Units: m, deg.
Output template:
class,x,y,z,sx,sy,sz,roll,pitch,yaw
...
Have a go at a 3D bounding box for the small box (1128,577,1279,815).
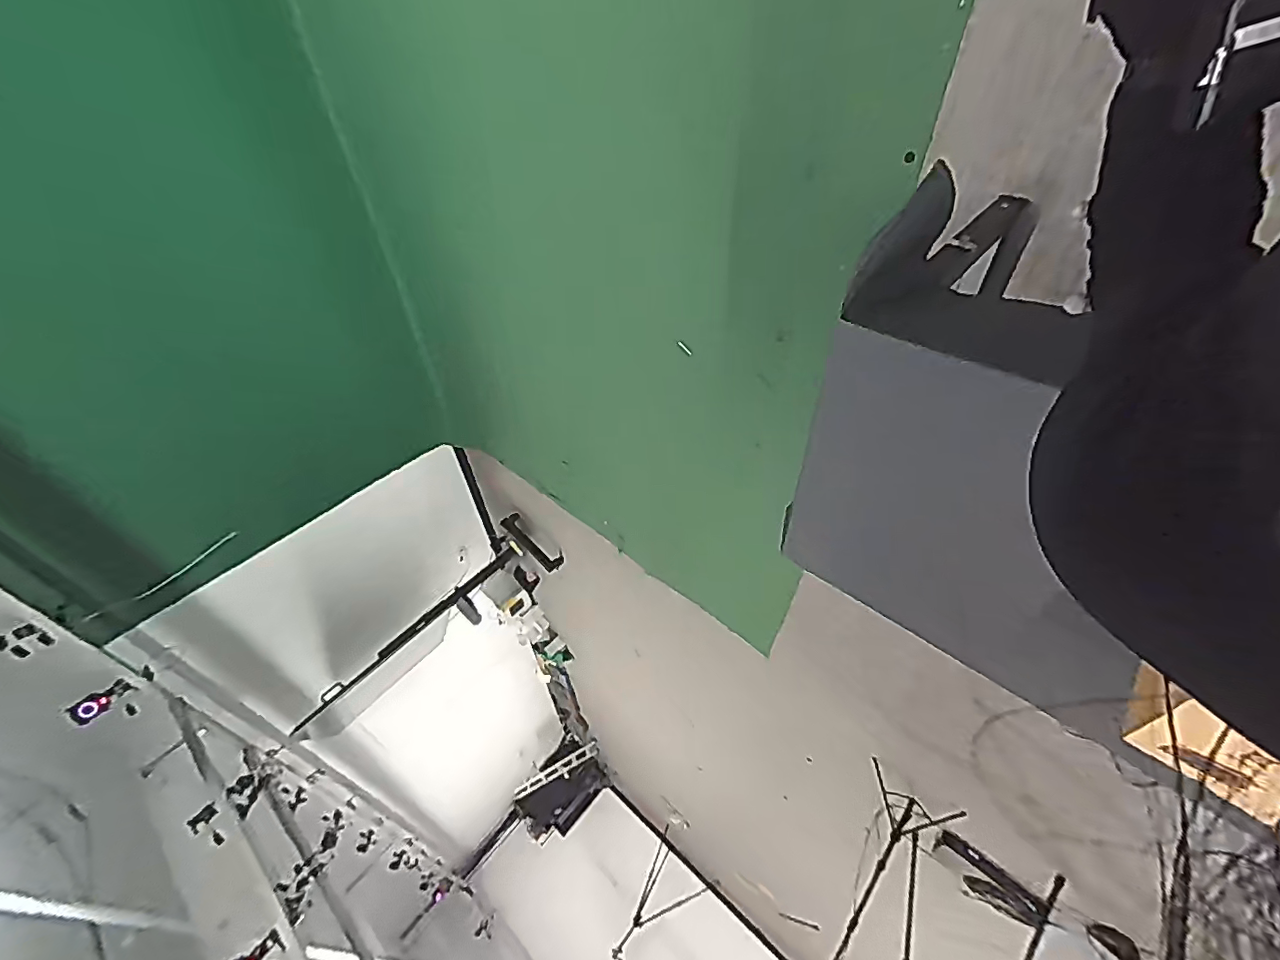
class,x,y,z,sx,sy,sz,roll,pitch,yaw
small box,0.744,0.253,0.642,0.168,0.176,0.179,32,145,29
